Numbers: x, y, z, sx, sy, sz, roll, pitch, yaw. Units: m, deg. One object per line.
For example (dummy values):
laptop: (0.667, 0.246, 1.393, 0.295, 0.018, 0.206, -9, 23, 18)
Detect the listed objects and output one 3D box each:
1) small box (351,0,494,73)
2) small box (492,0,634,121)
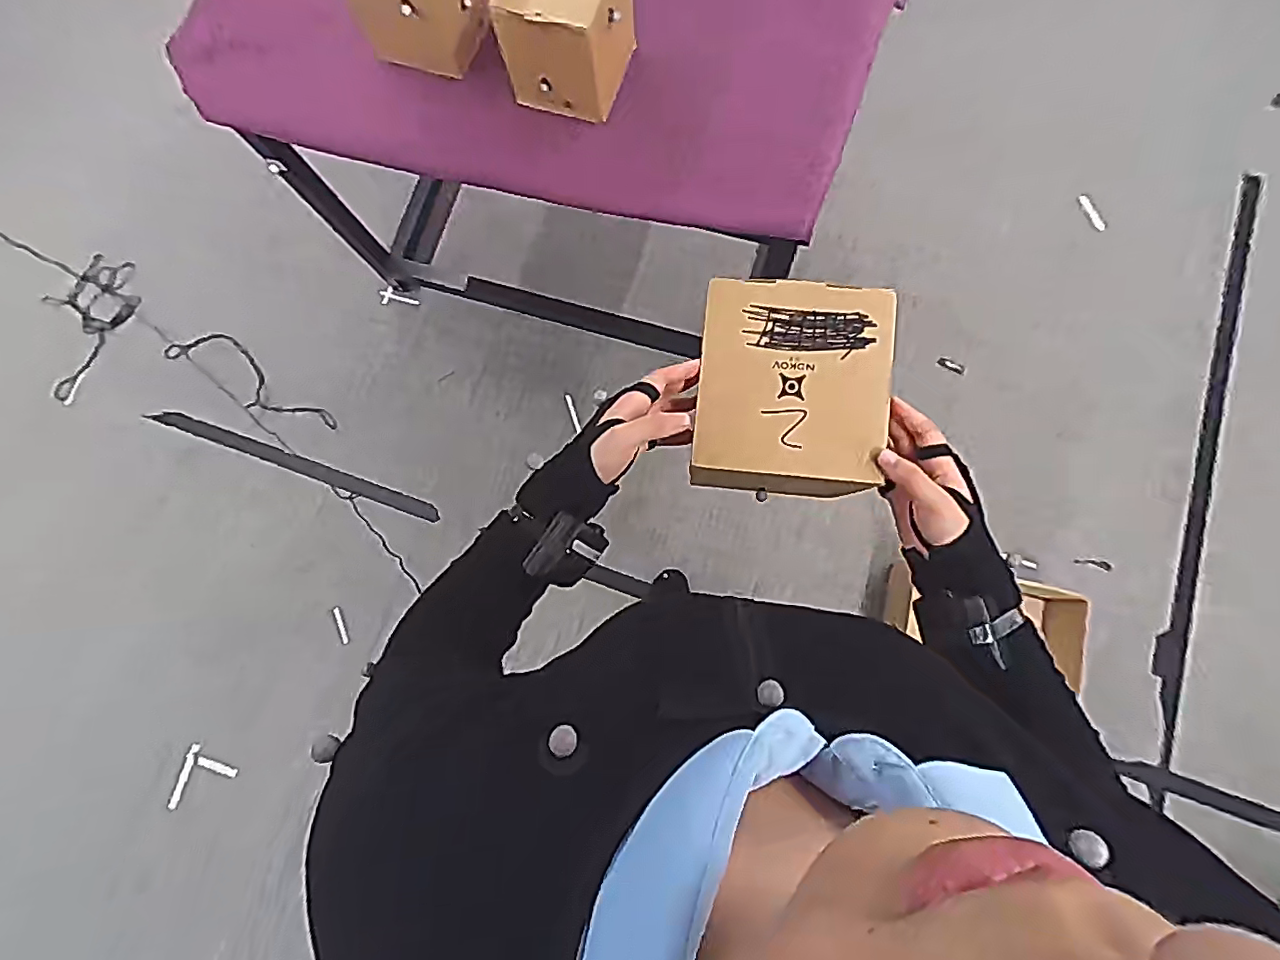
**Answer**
small box: (-0.375, -0.844, 0.922, 0.179, 0.176, 0.168, 19, 81, 7)
small box: (-0.113, -0.745, 0.886, 0.168, 0.176, 0.179, 18, 81, 7)
